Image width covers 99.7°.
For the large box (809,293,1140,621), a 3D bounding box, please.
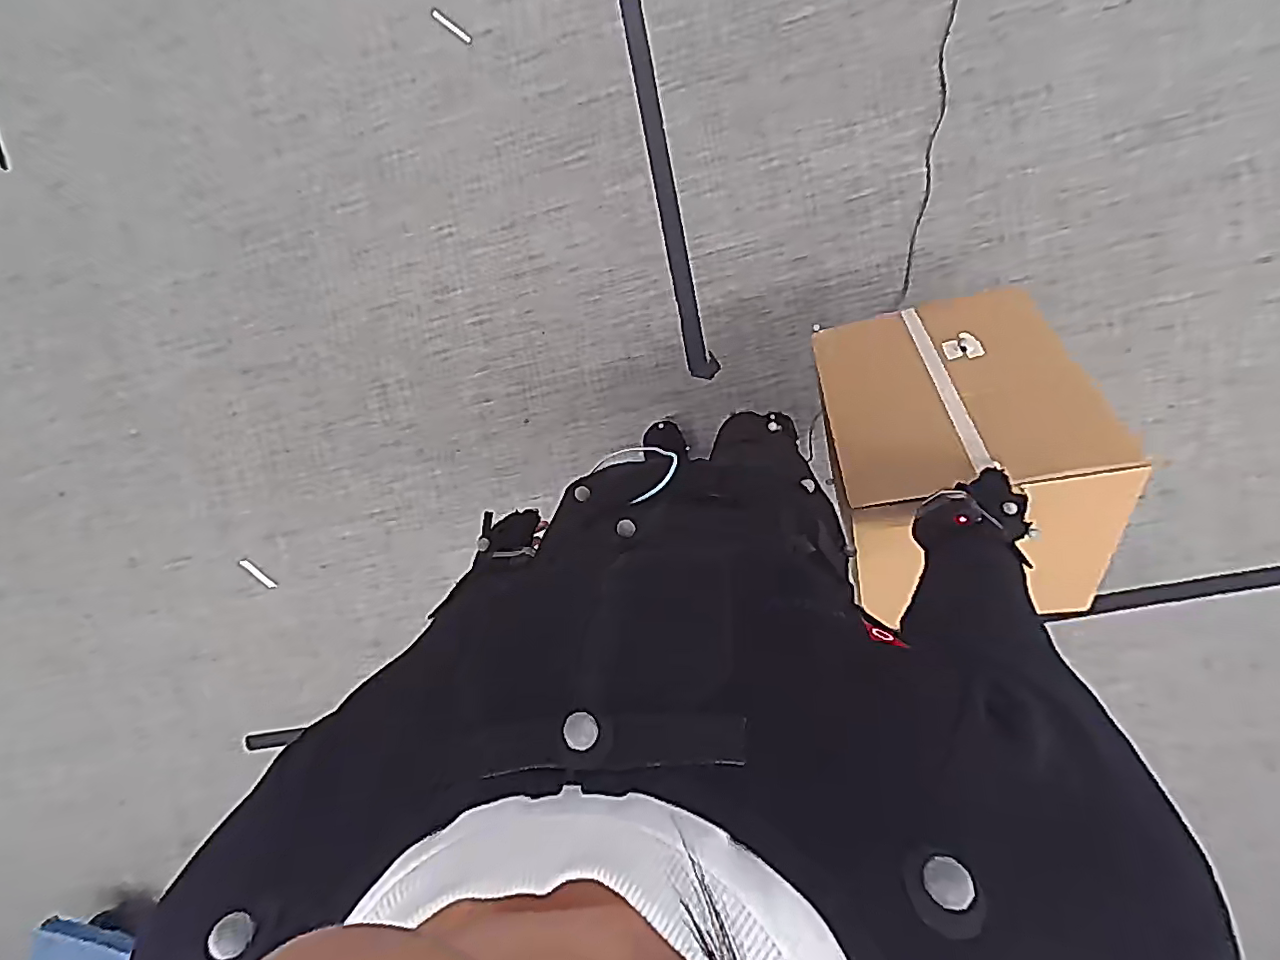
[{"bbox_3d":[0.482,-0.035,0.879,0.320,0.408,0.320,-10,134,16],"label":"large box"}]
